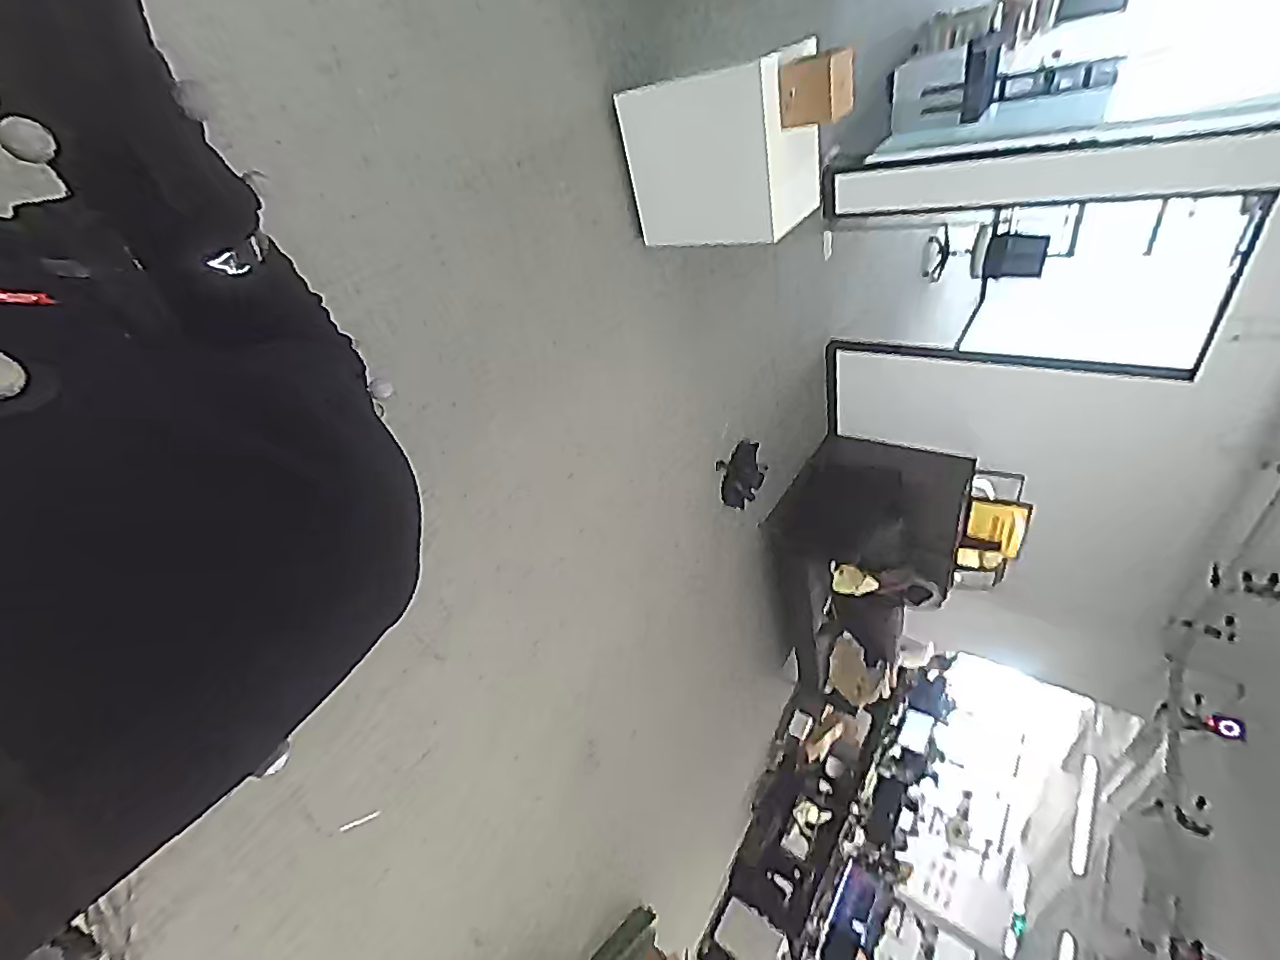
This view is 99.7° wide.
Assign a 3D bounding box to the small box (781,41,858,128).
[{"bbox_3d":[0.547,-1.200,1.644,0.179,0.176,0.168,-47,136,-30],"label":"small box"}]
